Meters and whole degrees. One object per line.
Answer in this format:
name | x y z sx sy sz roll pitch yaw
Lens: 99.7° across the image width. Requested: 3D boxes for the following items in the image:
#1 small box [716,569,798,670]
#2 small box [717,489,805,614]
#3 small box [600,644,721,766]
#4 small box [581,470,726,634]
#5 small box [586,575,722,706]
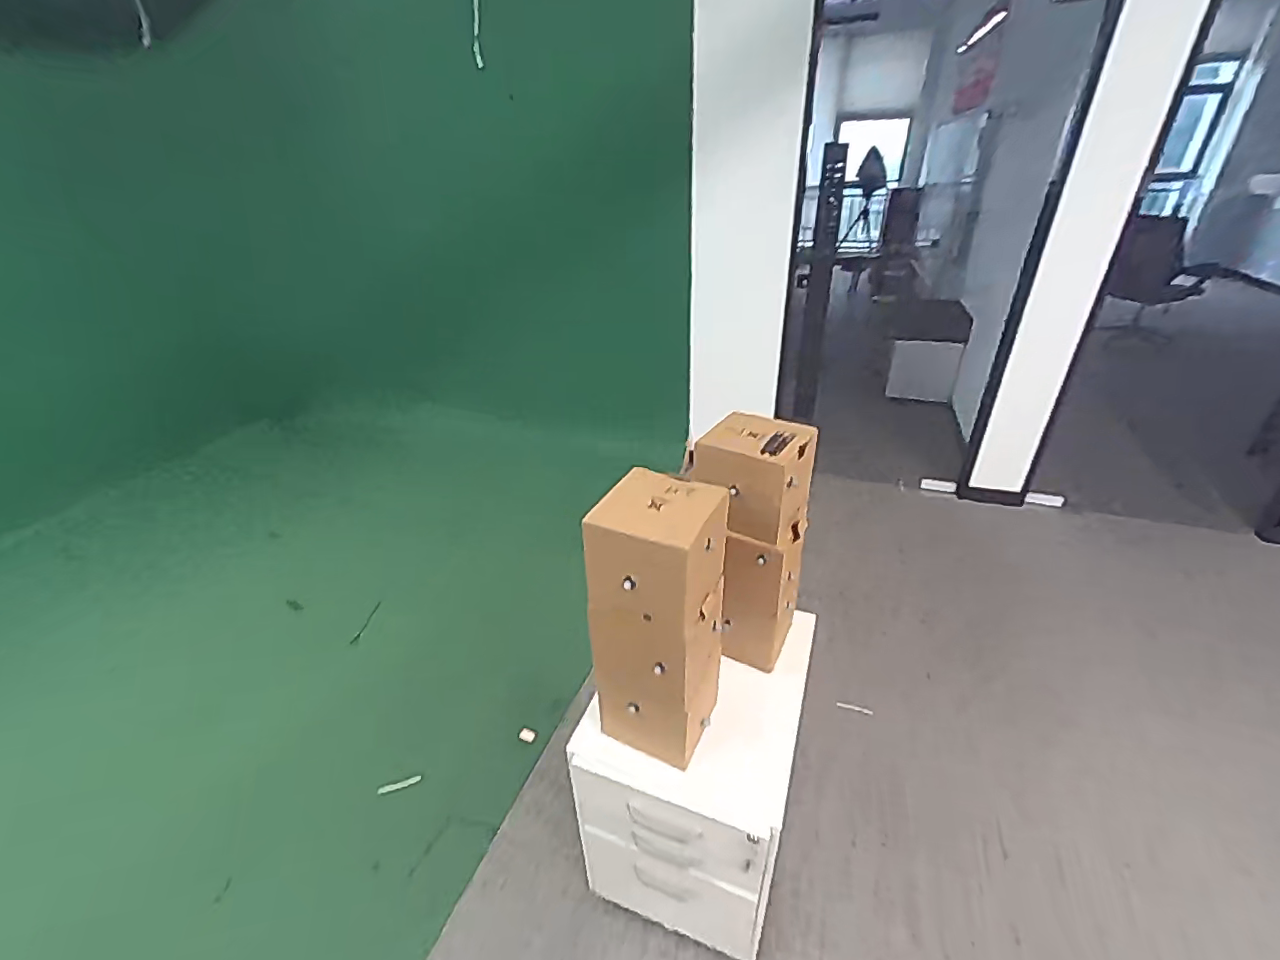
small box | 0.231 0.283 1.185 0.179 0.176 0.168 14 34 26
small box | 0.220 0.144 1.101 0.179 0.176 0.168 14 35 24
small box | 0.036 0.392 1.009 0.179 0.176 0.168 15 34 24
small box | 0.026 0.109 0.847 0.168 0.176 0.179 14 32 22
small box | 0.029 0.253 0.926 0.179 0.176 0.168 13 32 24
